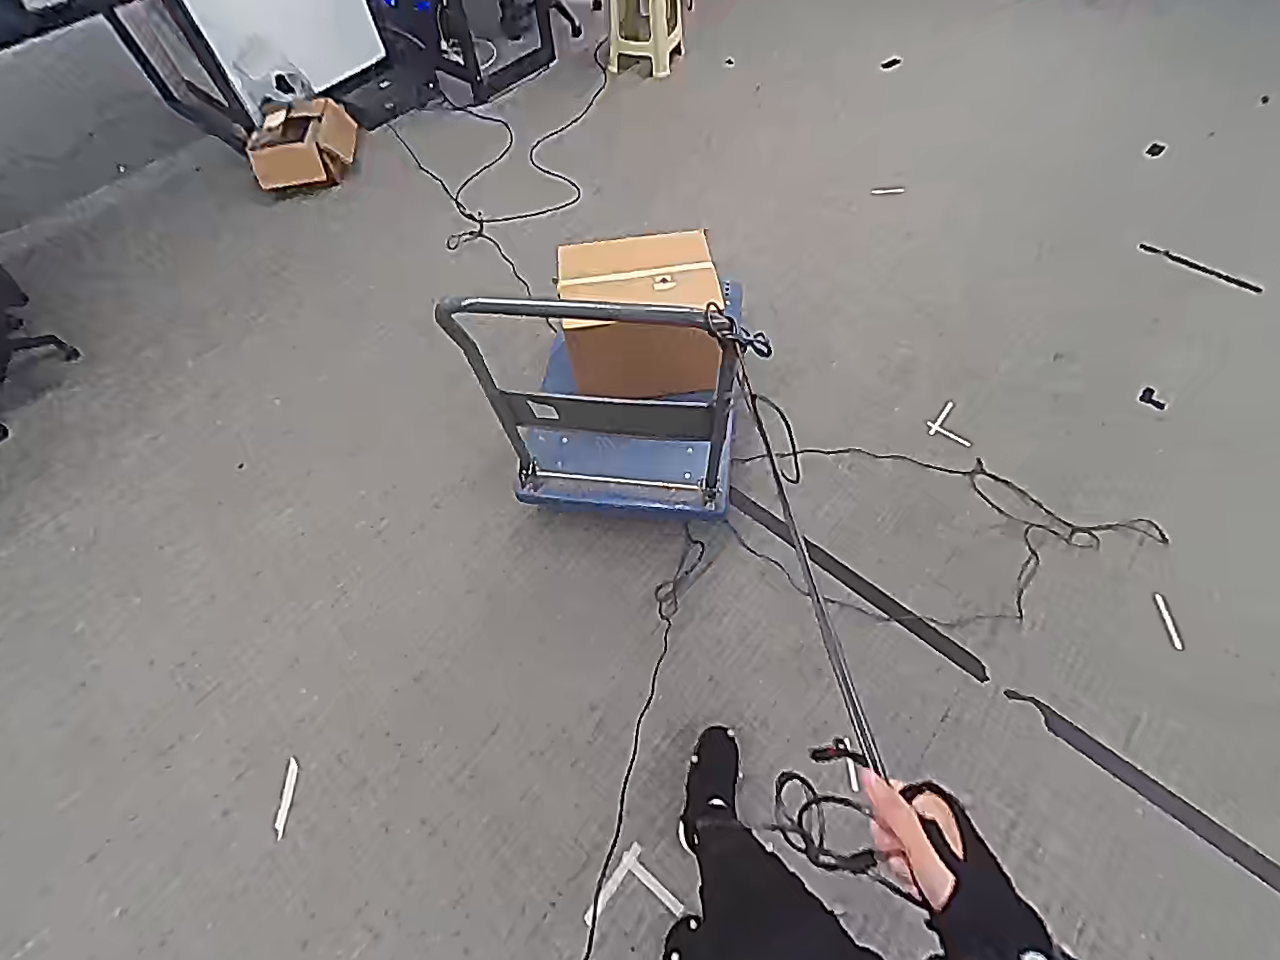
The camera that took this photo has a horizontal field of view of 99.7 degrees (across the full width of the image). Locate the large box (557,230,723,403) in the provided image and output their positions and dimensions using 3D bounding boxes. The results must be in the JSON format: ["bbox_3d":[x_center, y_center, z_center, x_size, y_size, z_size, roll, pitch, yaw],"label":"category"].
[{"bbox_3d":[-0.004,-0.449,1.515,0.408,0.320,0.320,-7,61,-1],"label":"large box"}]
